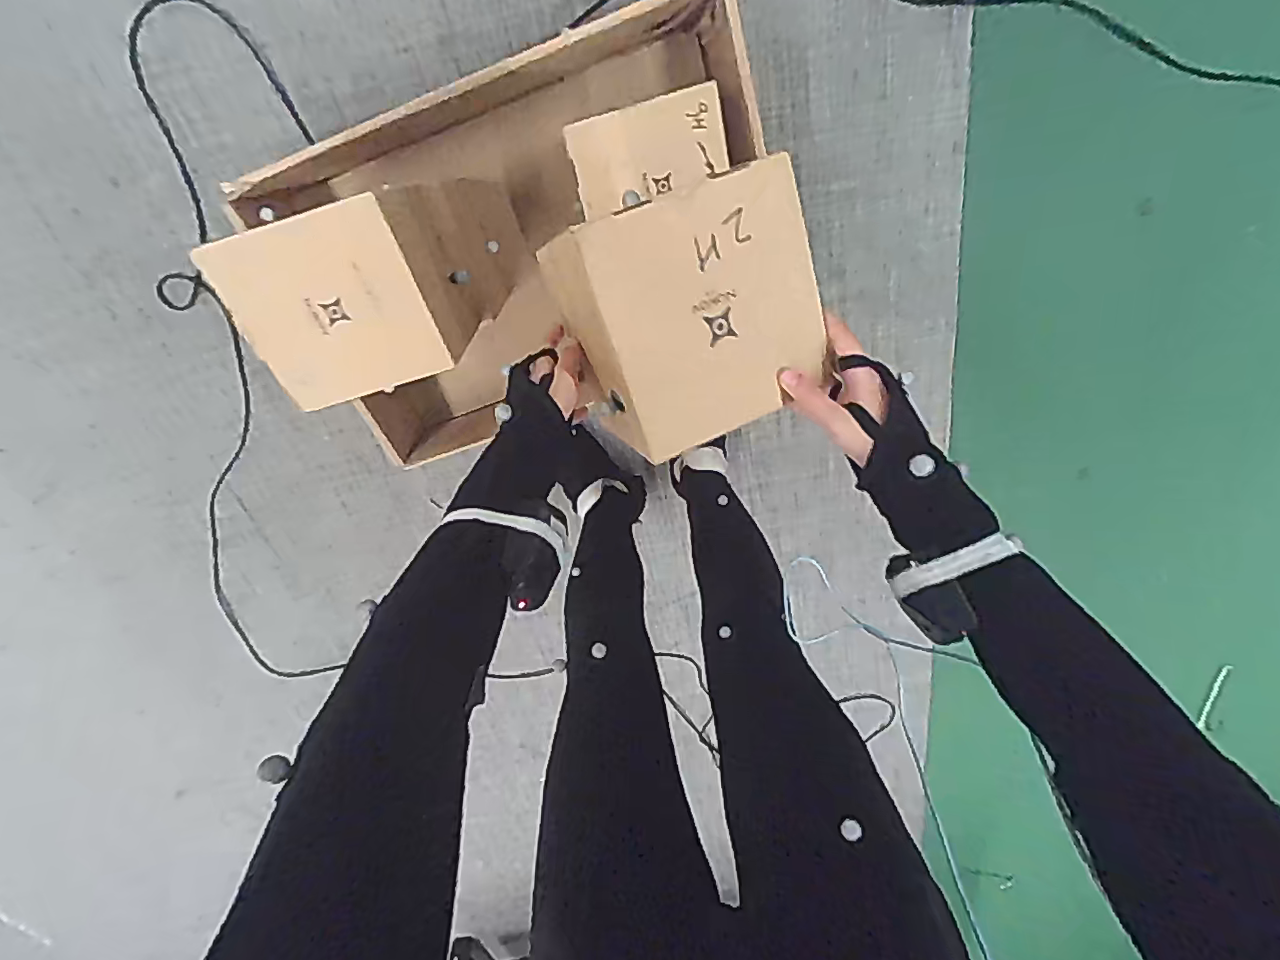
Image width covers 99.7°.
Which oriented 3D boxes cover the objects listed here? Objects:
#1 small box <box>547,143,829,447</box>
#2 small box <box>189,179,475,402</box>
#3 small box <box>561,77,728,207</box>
[{"bbox_3d":[0.032,-0.154,0.466,0.168,0.176,0.179,-23,113,-9],"label":"small box"},{"bbox_3d":[-0.296,-0.205,0.570,0.179,0.176,0.168,-15,121,2],"label":"small box"},{"bbox_3d":[0.012,-0.379,0.686,0.179,0.176,0.168,-14,120,3],"label":"small box"}]
